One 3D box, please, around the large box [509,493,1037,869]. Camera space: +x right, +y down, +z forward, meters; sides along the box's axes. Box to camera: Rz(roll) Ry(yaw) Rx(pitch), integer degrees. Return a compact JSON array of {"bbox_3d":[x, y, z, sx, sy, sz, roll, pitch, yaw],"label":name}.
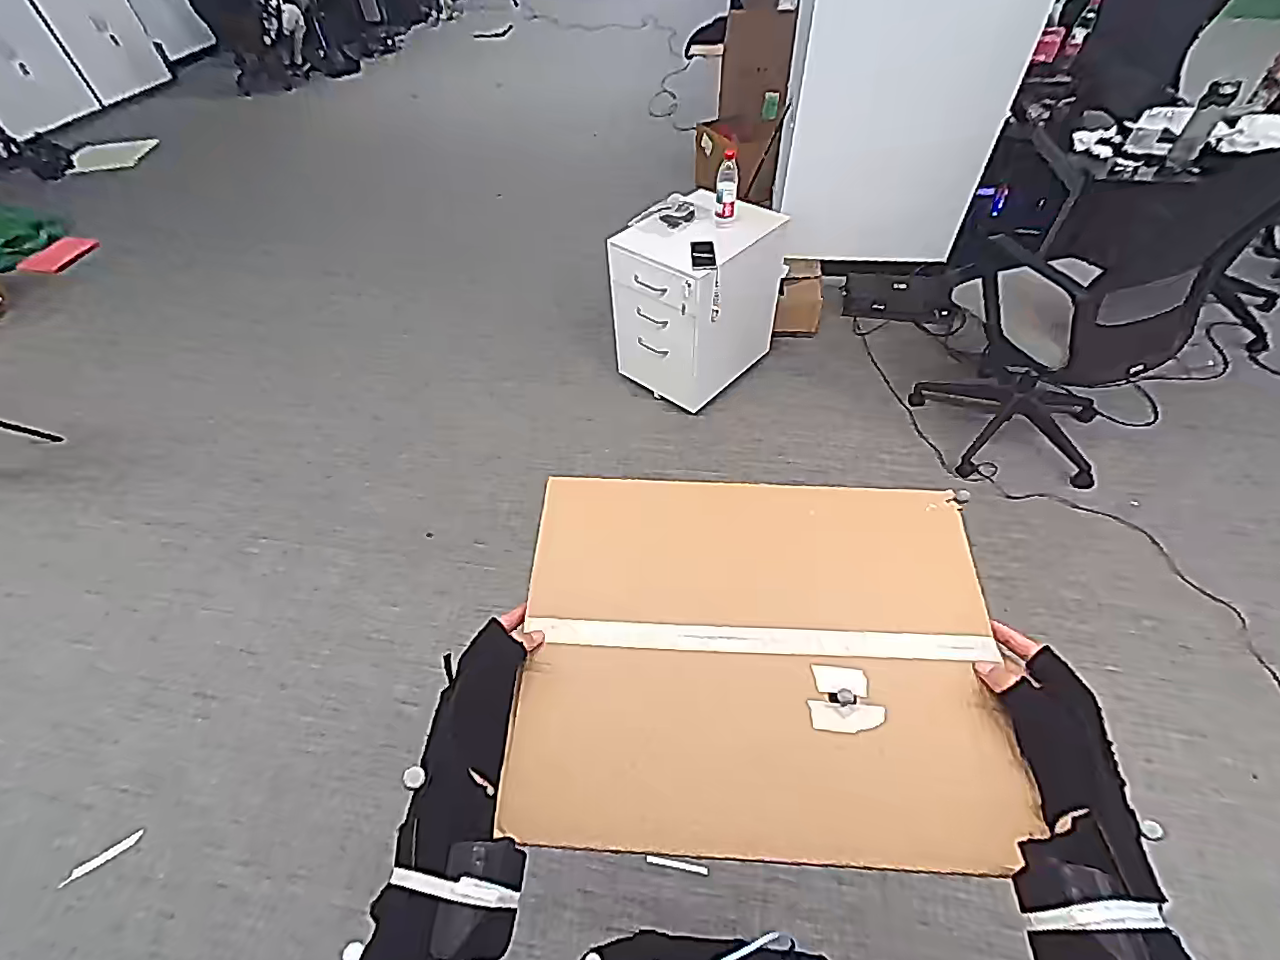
[{"bbox_3d":[0.102,0.225,0.606,0.408,0.320,0.320,2,60,2],"label":"large box"}]
